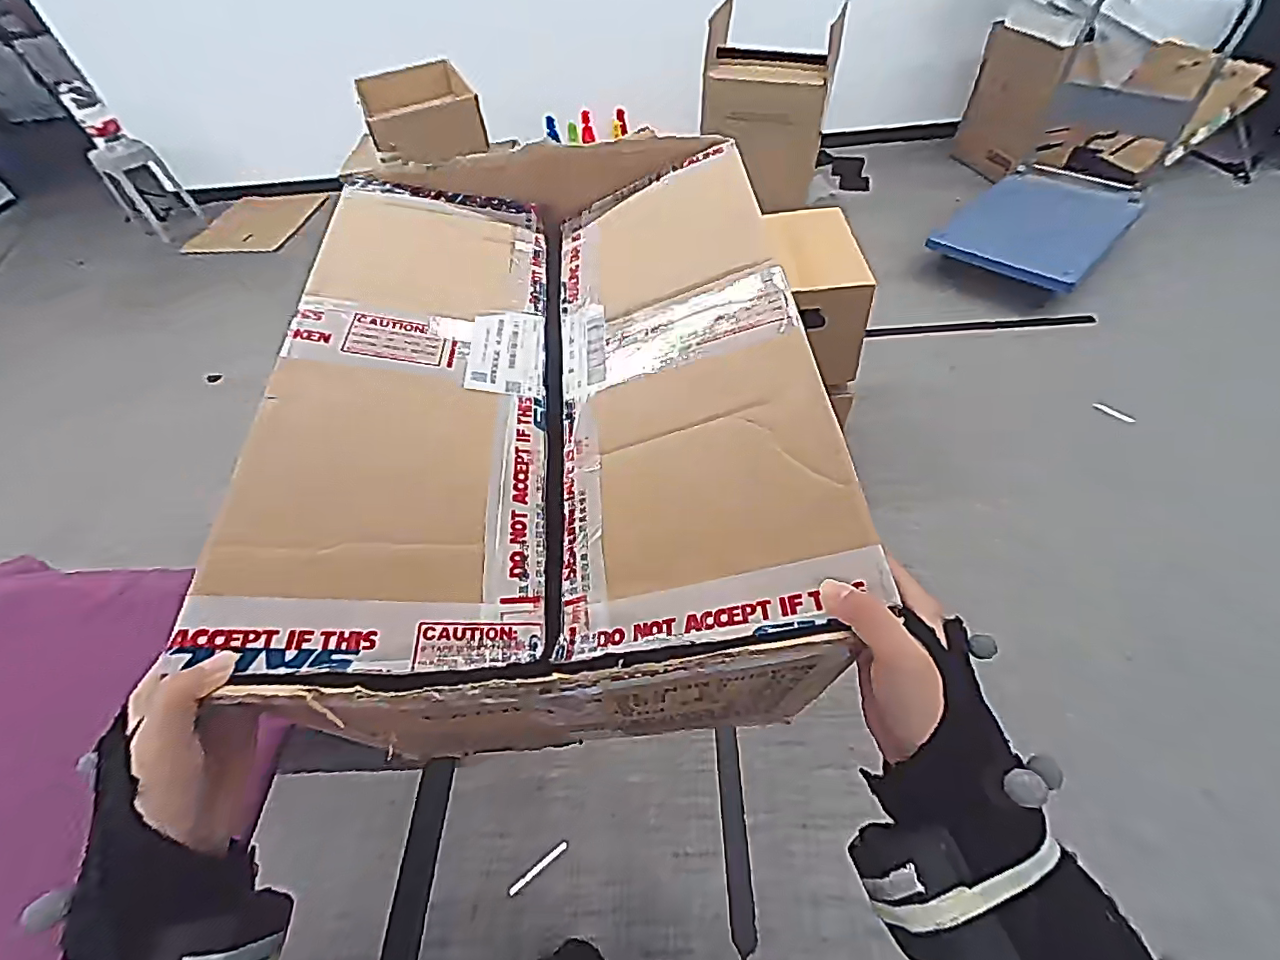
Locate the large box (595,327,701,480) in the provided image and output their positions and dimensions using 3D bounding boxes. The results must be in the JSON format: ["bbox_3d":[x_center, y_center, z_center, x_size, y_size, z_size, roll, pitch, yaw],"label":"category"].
[{"bbox_3d":[0.025,-0.254,1.796,0.320,0.320,0.408,-5,51,3],"label":"large box"}]
